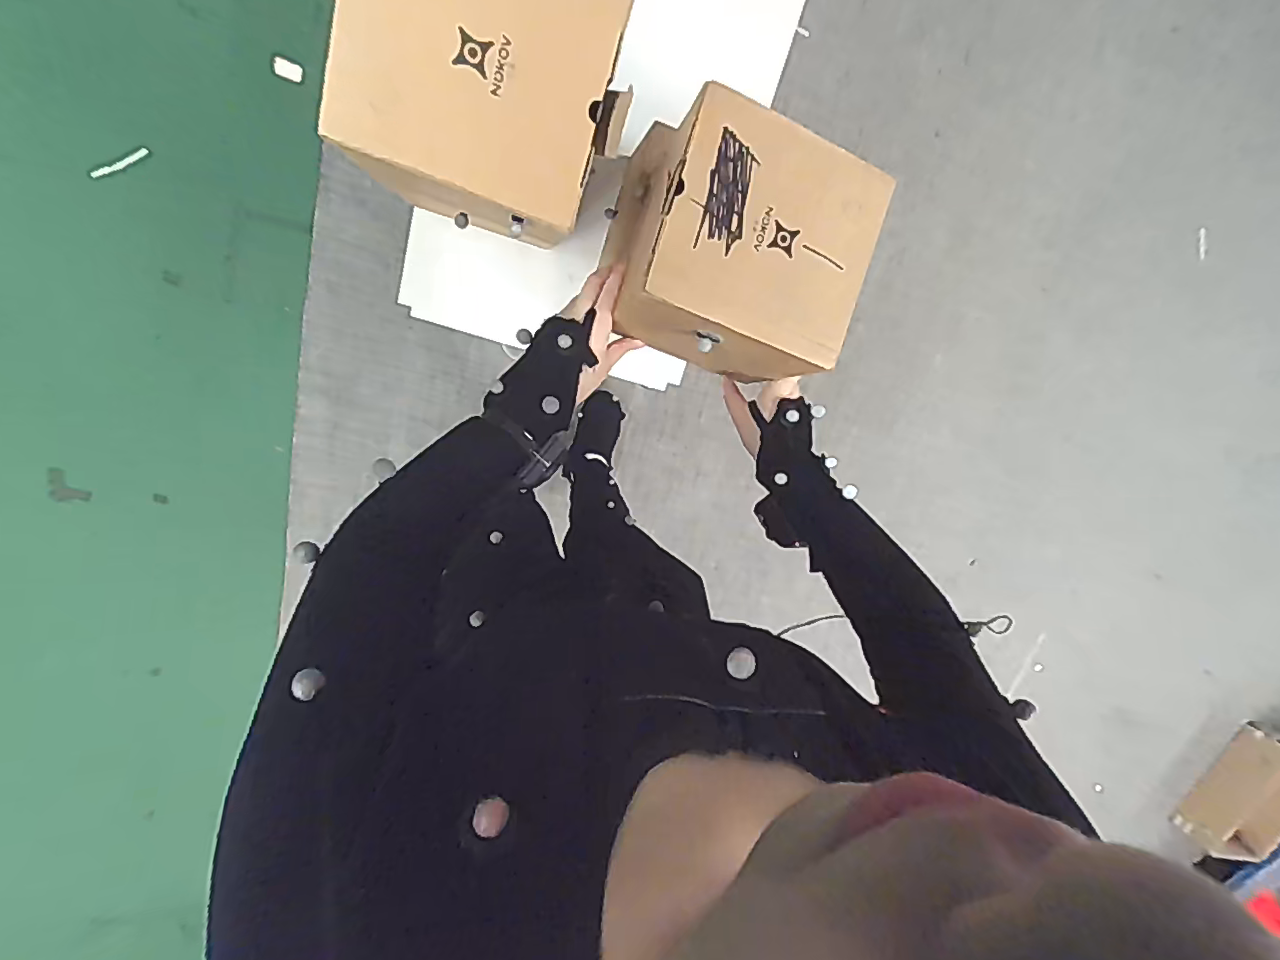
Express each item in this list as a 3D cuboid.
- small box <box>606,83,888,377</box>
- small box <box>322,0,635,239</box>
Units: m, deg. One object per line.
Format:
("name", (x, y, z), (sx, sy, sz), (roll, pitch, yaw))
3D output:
("small box", (0.082, -0.202, 0.502), (0.179, 0.176, 0.168), (18, 91, -17))
("small box", (-0.125, -0.311, 0.438), (0.179, 0.176, 0.168), (14, 104, -19))
